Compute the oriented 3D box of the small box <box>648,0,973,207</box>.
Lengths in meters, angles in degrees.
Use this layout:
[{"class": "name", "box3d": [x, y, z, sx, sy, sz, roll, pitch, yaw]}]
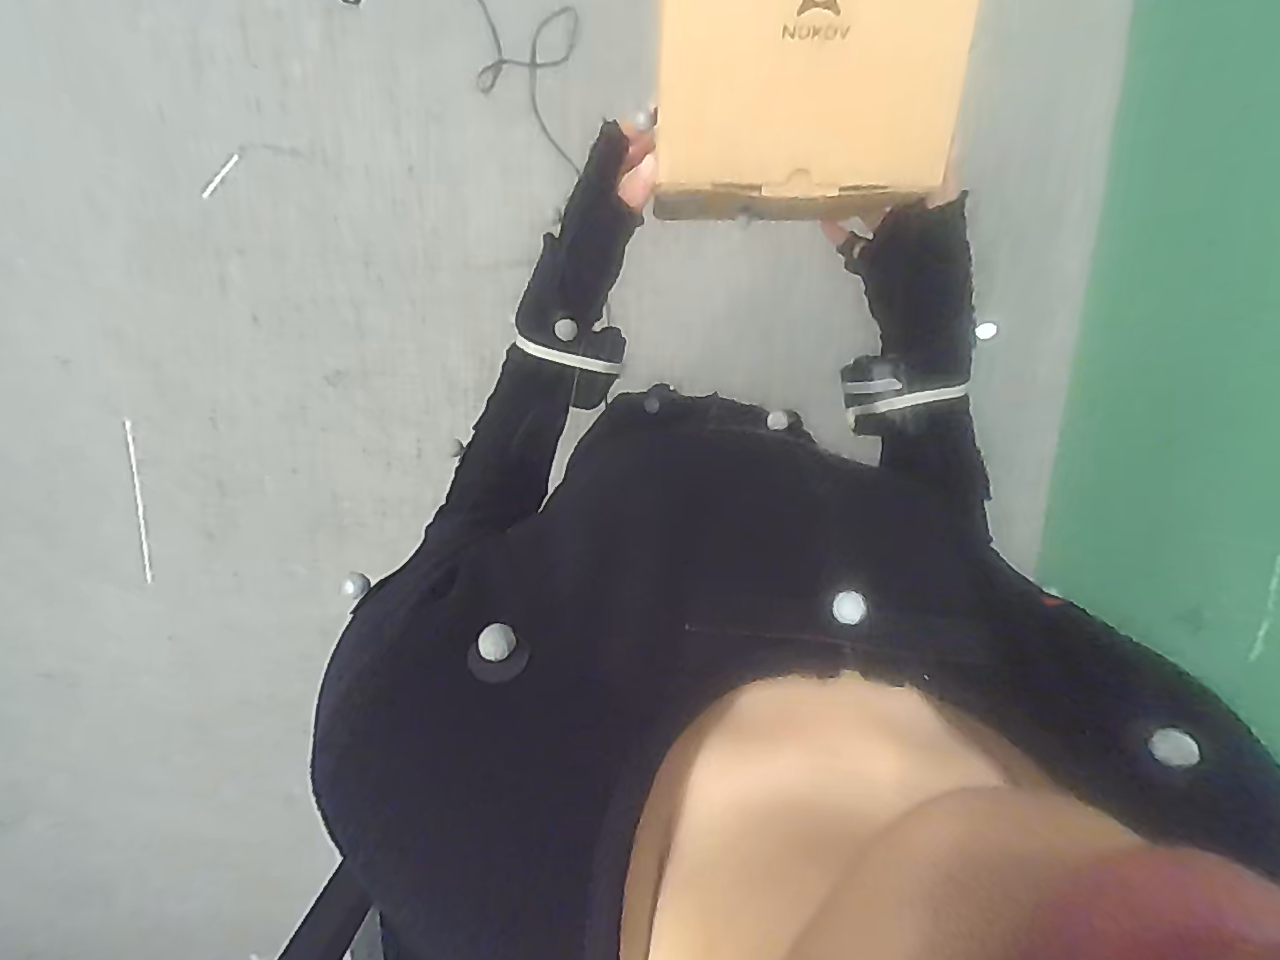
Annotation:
[{"class": "small box", "box3d": [0.089, -0.283, 0.348, 0.168, 0.176, 0.179, 1, 112, 1]}]
